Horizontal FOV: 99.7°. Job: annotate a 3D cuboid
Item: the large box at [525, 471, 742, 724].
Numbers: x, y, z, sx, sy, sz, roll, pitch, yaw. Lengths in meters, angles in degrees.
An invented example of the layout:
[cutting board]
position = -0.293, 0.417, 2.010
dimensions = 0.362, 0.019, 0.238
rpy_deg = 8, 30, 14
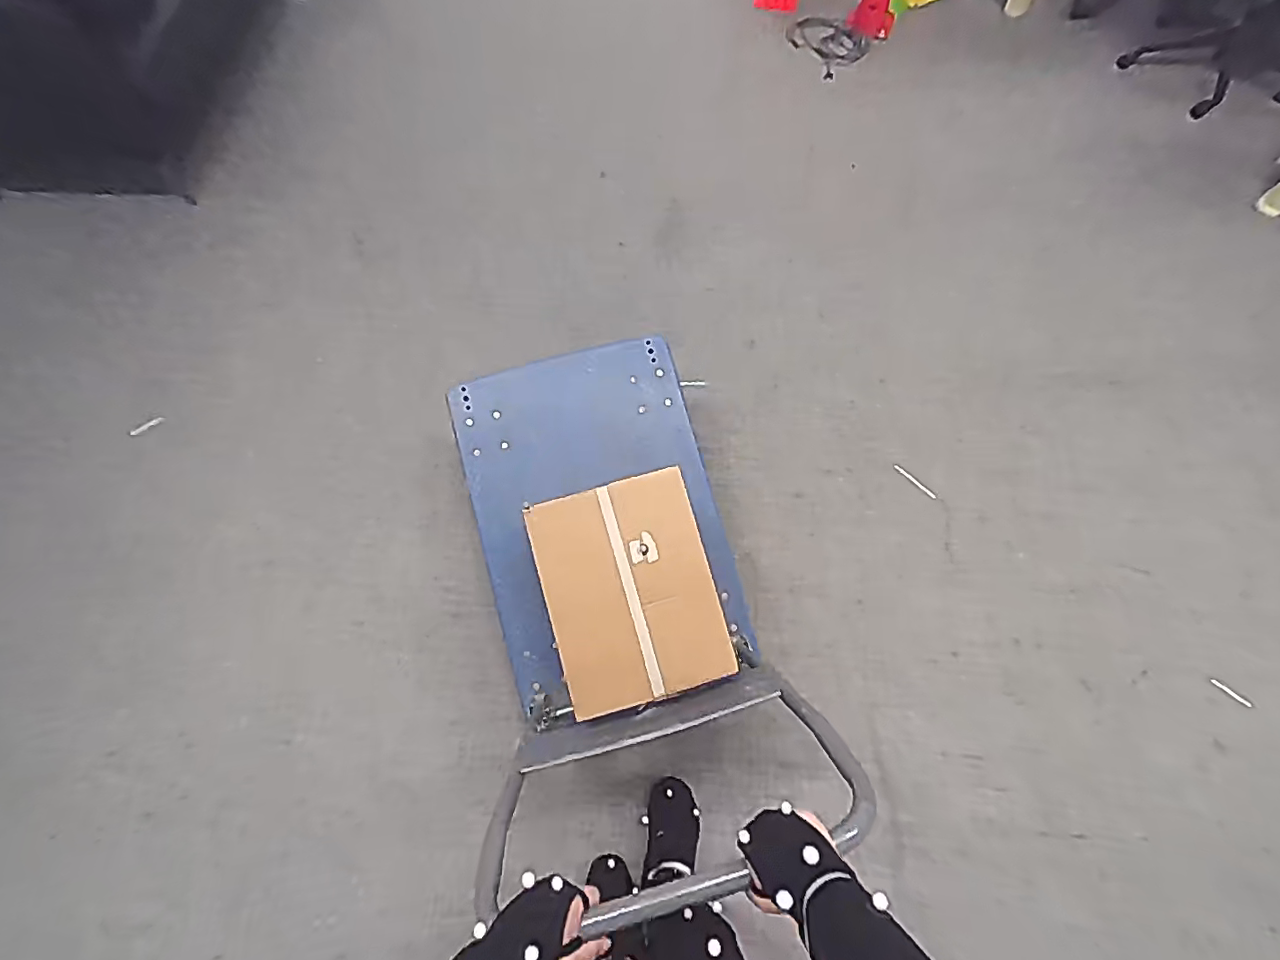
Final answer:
[large box]
position = -0.018, 0.232, 1.147
dimensions = 0.320, 0.320, 0.408
rpy_deg = -16, 83, -5
